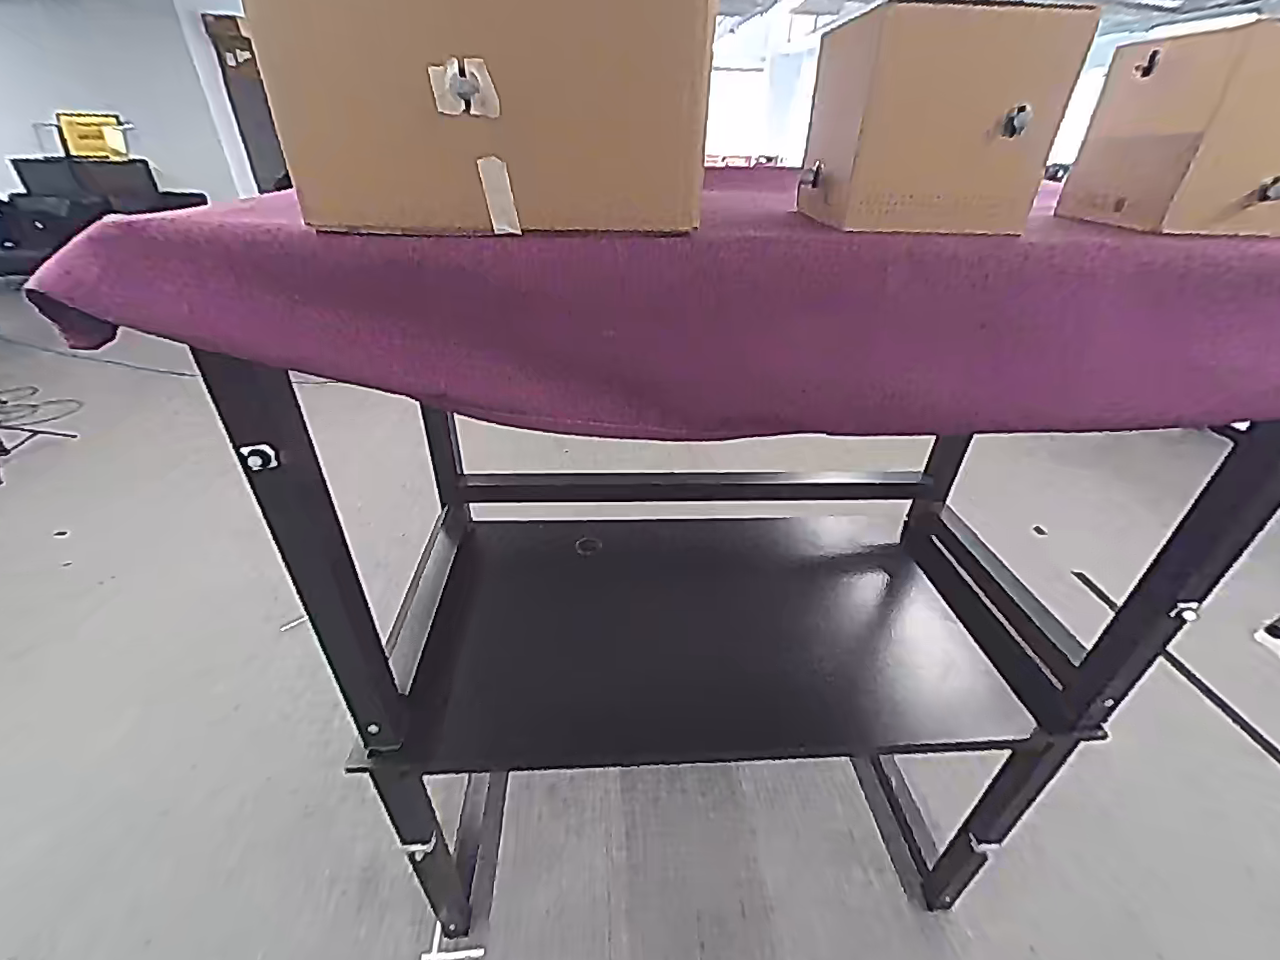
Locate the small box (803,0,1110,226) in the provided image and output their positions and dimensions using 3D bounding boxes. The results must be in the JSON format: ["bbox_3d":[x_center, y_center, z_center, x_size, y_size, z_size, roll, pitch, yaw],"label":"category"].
[{"bbox_3d":[0.276,-0.349,0.524,0.179,0.176,0.168,0,32,-1],"label":"small box"}]

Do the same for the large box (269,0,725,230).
[{"bbox_3d":[-0.114,-0.430,0.513,0.320,0.320,0.408,-2,32,-6],"label":"large box"}]

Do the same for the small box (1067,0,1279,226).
[{"bbox_3d":[0.598,-0.360,0.548,0.179,0.176,0.168,2,32,1],"label":"small box"}]
